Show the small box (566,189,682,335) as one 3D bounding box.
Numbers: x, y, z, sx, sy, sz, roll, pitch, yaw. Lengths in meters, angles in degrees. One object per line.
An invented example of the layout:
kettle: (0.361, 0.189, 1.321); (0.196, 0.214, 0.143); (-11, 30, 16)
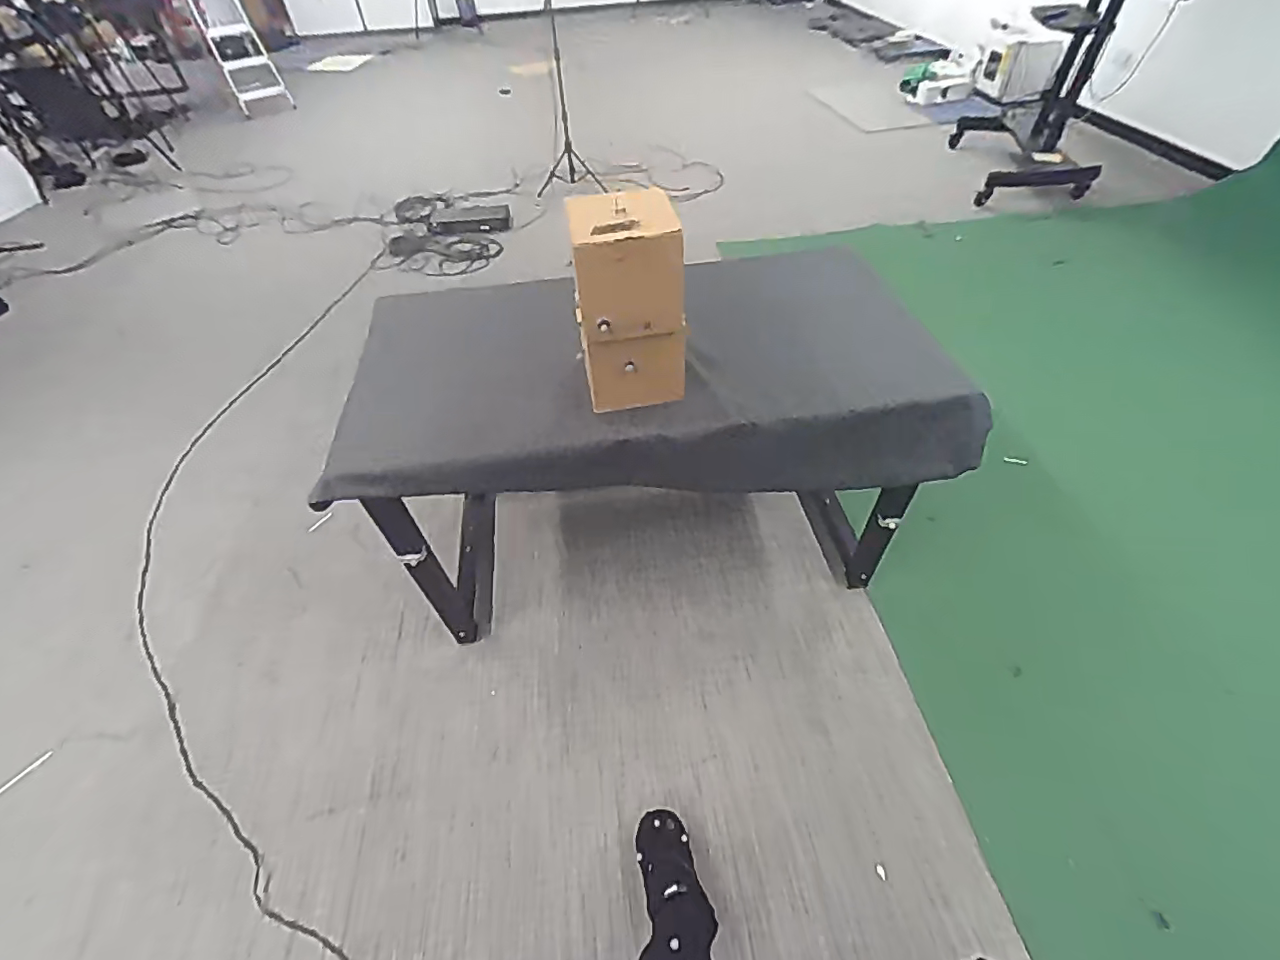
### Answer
small box: (-0.024, -0.355, 0.898); (0.168, 0.176, 0.179); (-9, 47, -4)

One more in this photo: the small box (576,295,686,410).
small box: (-0.014, -0.253, 1.031); (0.179, 0.176, 0.168); (-12, 47, -7)
